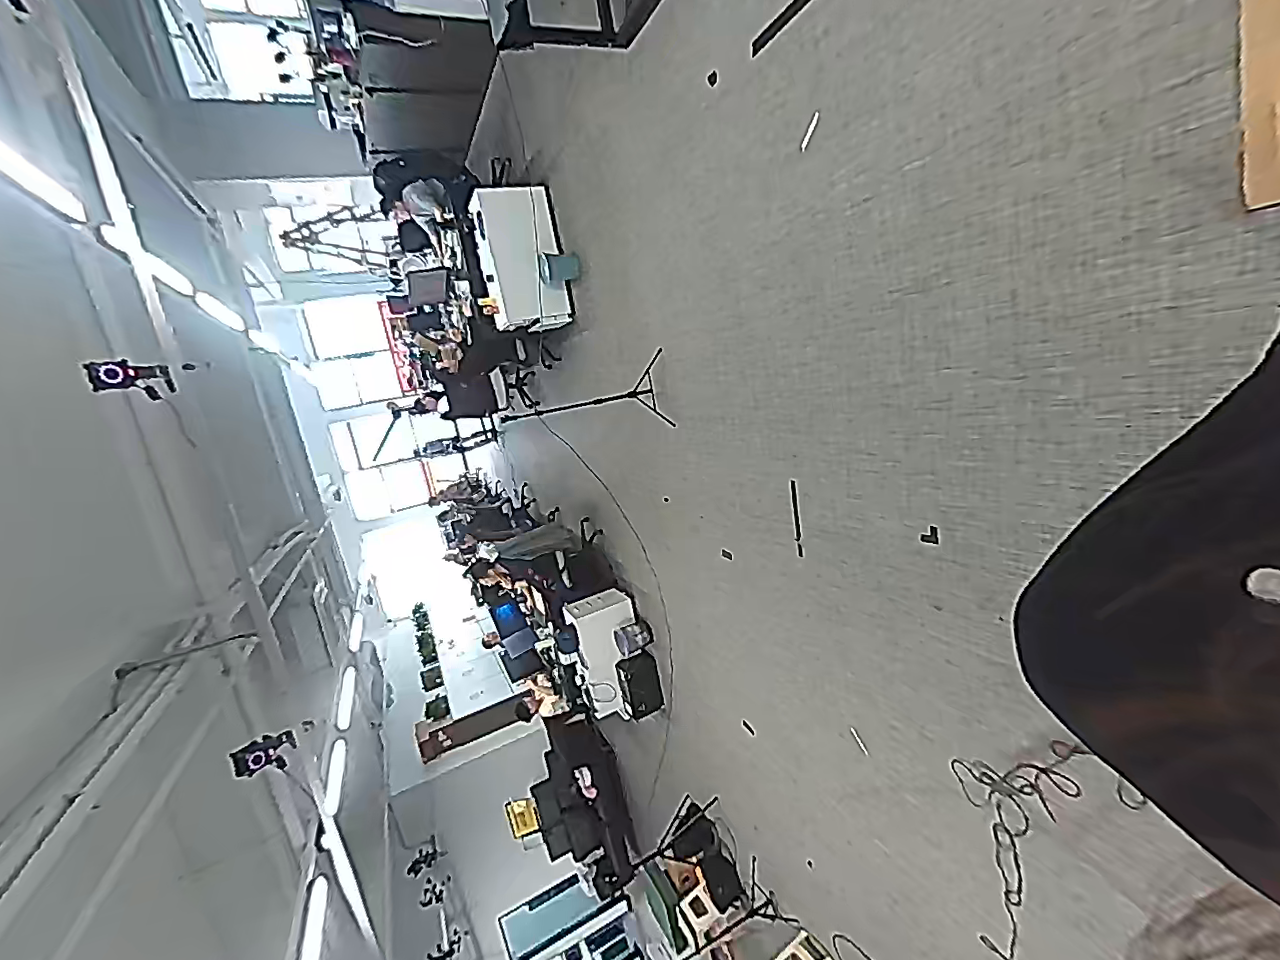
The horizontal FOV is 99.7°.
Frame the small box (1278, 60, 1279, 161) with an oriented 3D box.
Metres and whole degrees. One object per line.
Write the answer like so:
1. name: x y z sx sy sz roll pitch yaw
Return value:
1. small box: 1.209 -0.652 0.893 0.168 0.176 0.179 8 113 66
